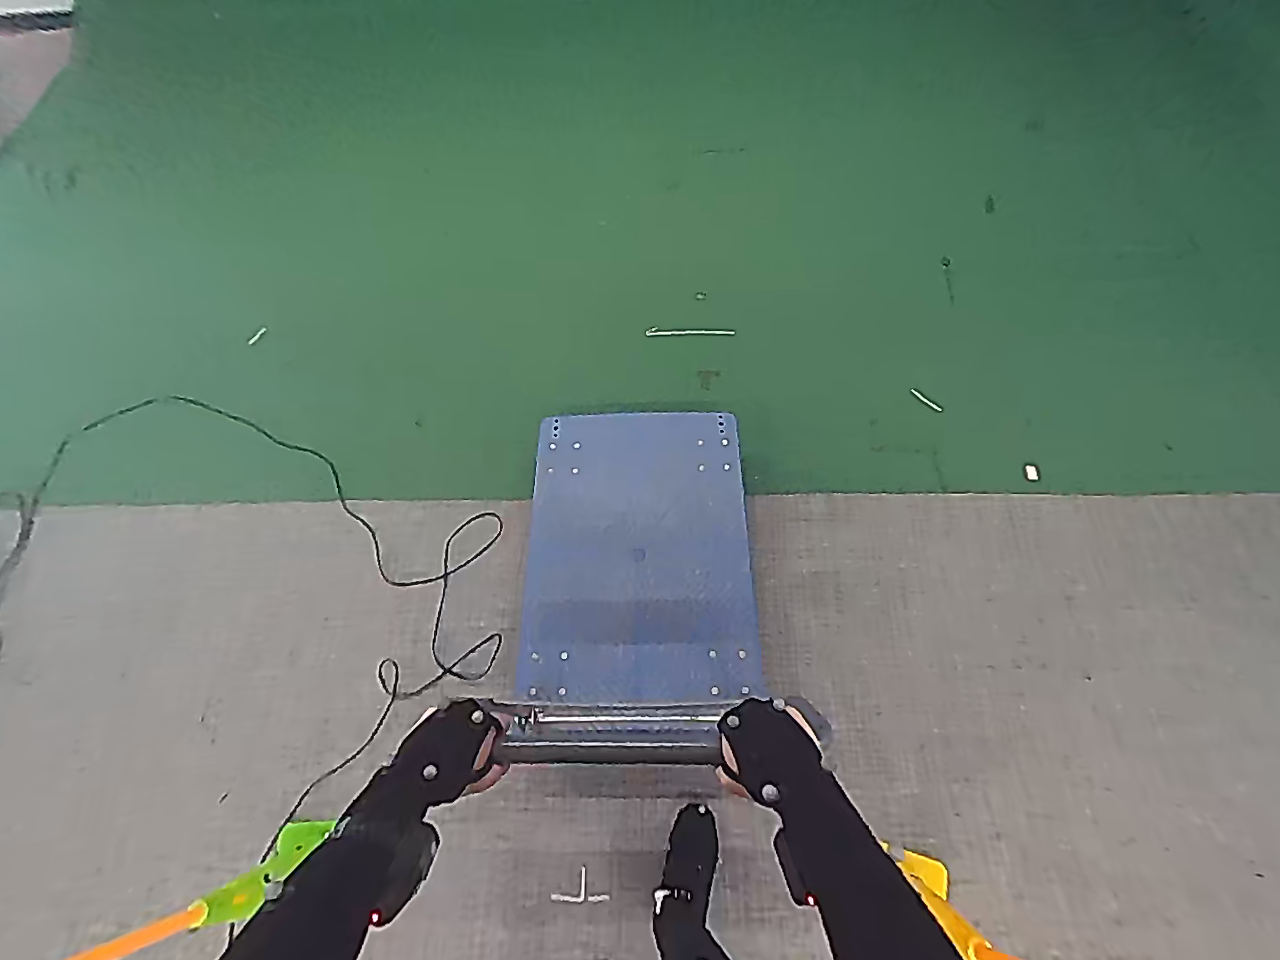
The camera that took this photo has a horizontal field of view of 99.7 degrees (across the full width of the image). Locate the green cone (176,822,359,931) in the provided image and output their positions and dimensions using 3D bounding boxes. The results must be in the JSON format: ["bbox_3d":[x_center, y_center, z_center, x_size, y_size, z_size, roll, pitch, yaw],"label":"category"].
[{"bbox_3d":[-0.774,0.839,1.104,0.202,0.368,0.200,-5,63,2],"label":"green cone"}]
